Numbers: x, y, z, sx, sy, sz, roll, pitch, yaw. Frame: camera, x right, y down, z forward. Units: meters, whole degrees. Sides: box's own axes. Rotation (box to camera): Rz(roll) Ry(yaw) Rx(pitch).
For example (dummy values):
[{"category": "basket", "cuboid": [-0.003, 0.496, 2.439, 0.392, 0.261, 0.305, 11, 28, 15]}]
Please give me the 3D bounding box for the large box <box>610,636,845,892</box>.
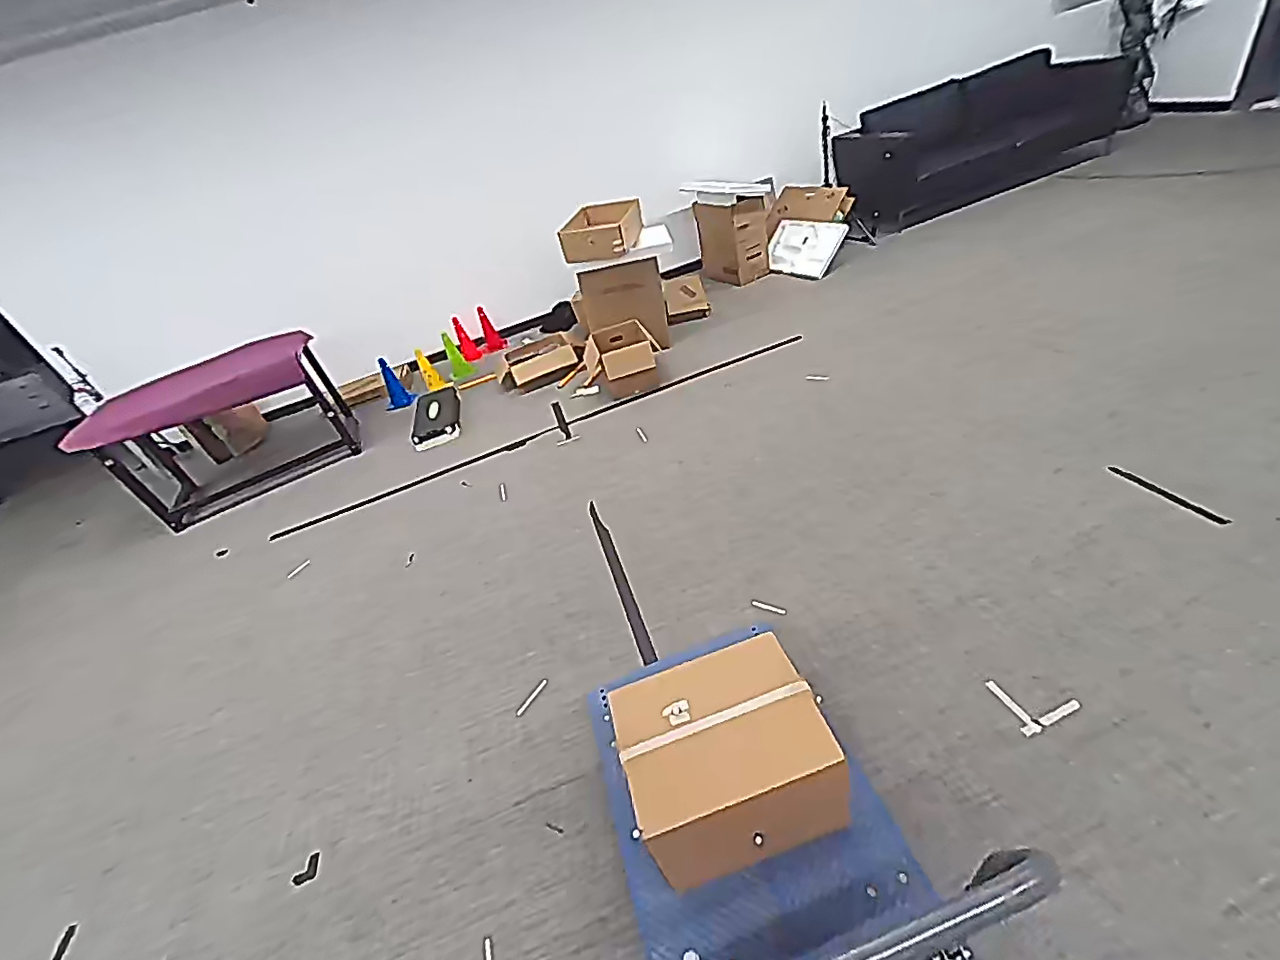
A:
[{"category": "large box", "cuboid": [0.191, 0.622, 1.200, 0.408, 0.320, 0.320, -21, 35, -3]}]
